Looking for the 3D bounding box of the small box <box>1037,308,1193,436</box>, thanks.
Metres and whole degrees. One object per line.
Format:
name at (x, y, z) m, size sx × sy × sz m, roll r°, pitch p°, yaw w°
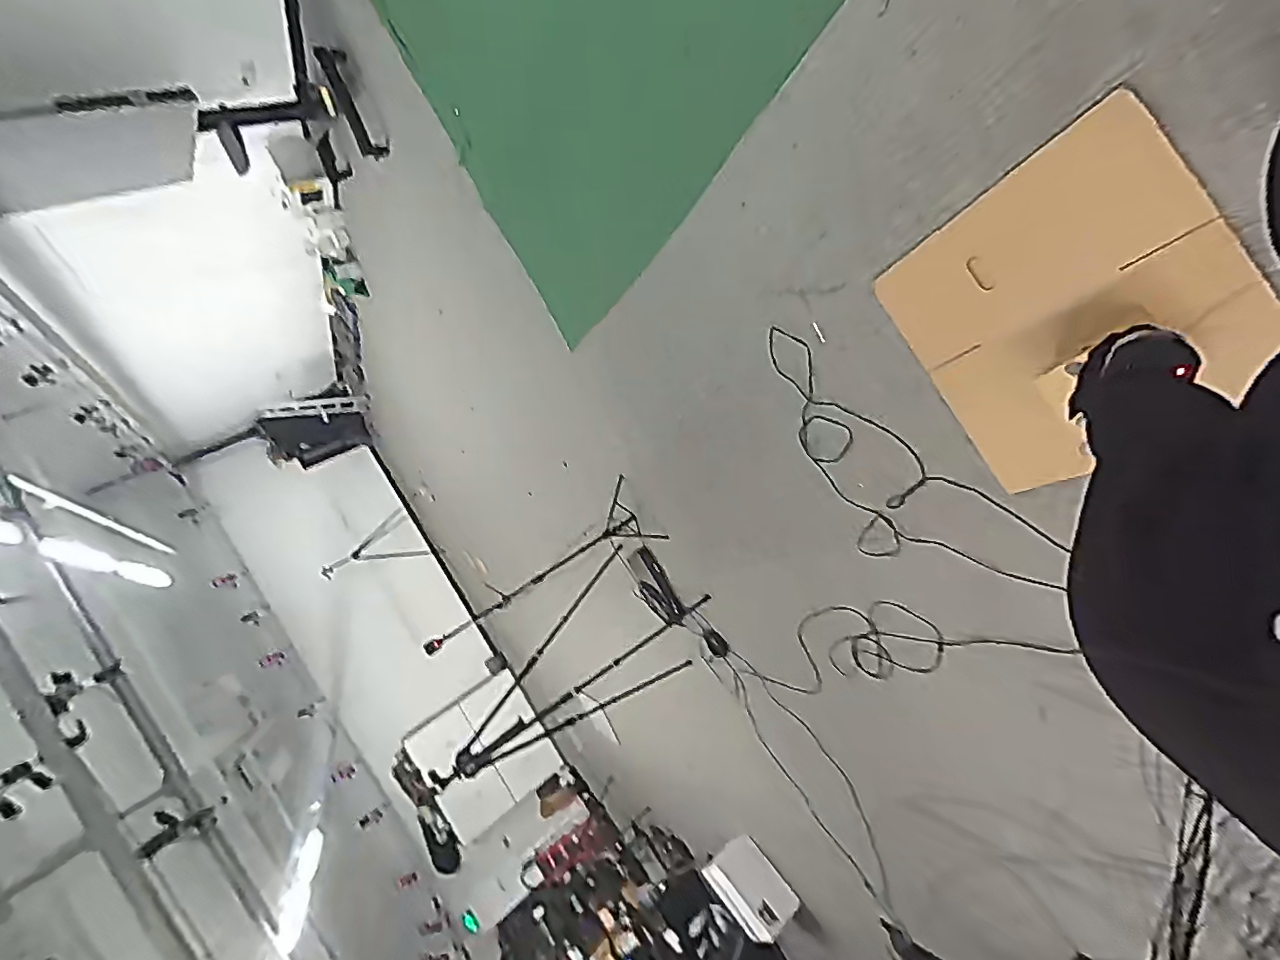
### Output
small box at (0.986, -0.226, 1.119) m, size 0.168 × 0.176 × 0.179 m, roll 54°, pitch 150°, yaw 6°
